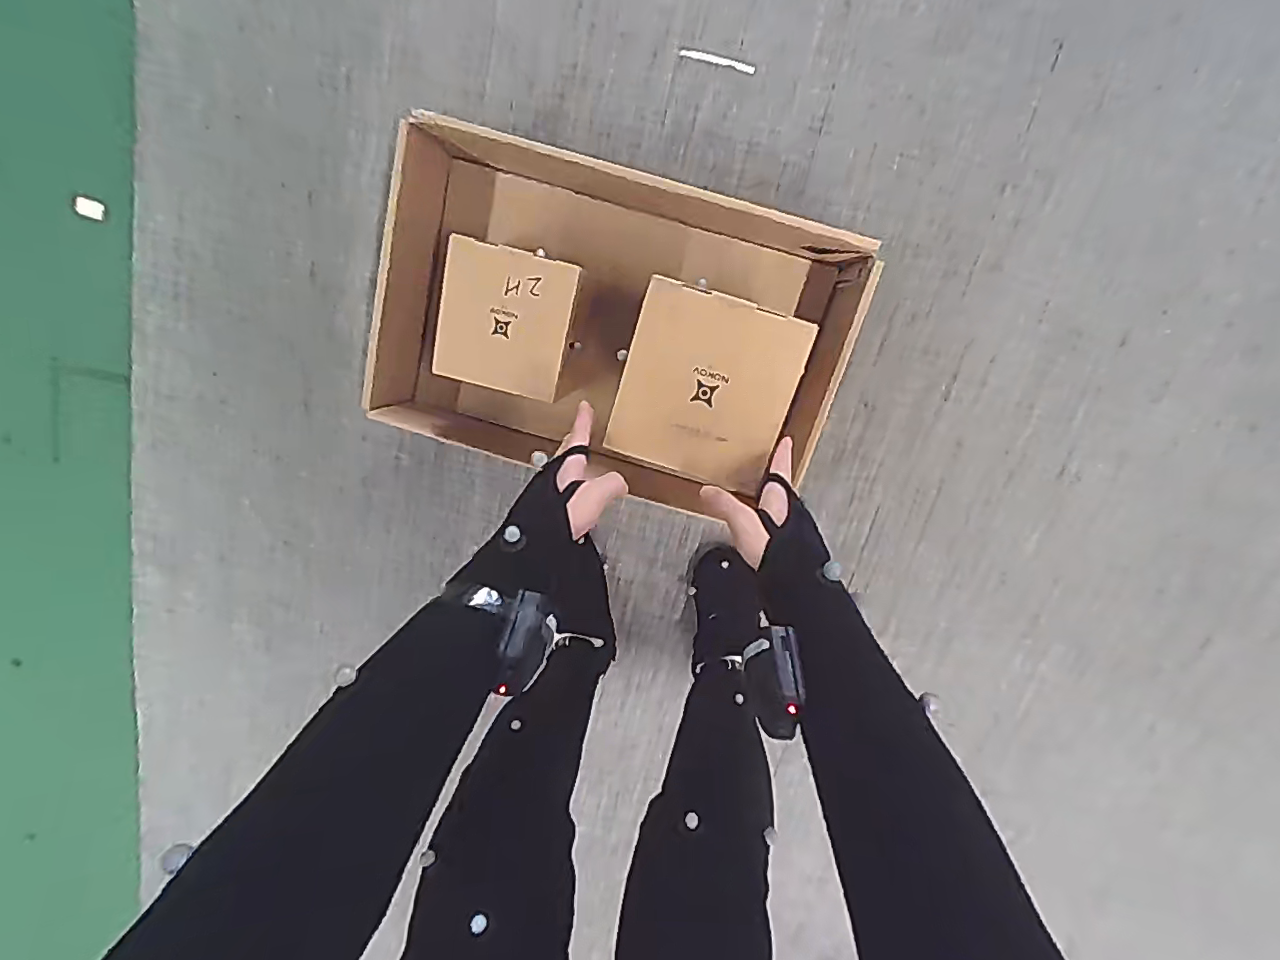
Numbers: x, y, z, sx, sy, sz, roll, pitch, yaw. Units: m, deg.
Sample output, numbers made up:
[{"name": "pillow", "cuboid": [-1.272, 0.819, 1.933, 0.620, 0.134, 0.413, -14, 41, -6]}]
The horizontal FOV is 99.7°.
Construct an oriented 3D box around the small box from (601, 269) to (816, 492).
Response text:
[{"name": "small box", "cuboid": [0.069, -0.112, 0.600, 0.168, 0.176, 0.179, 19, 106, 1]}]
